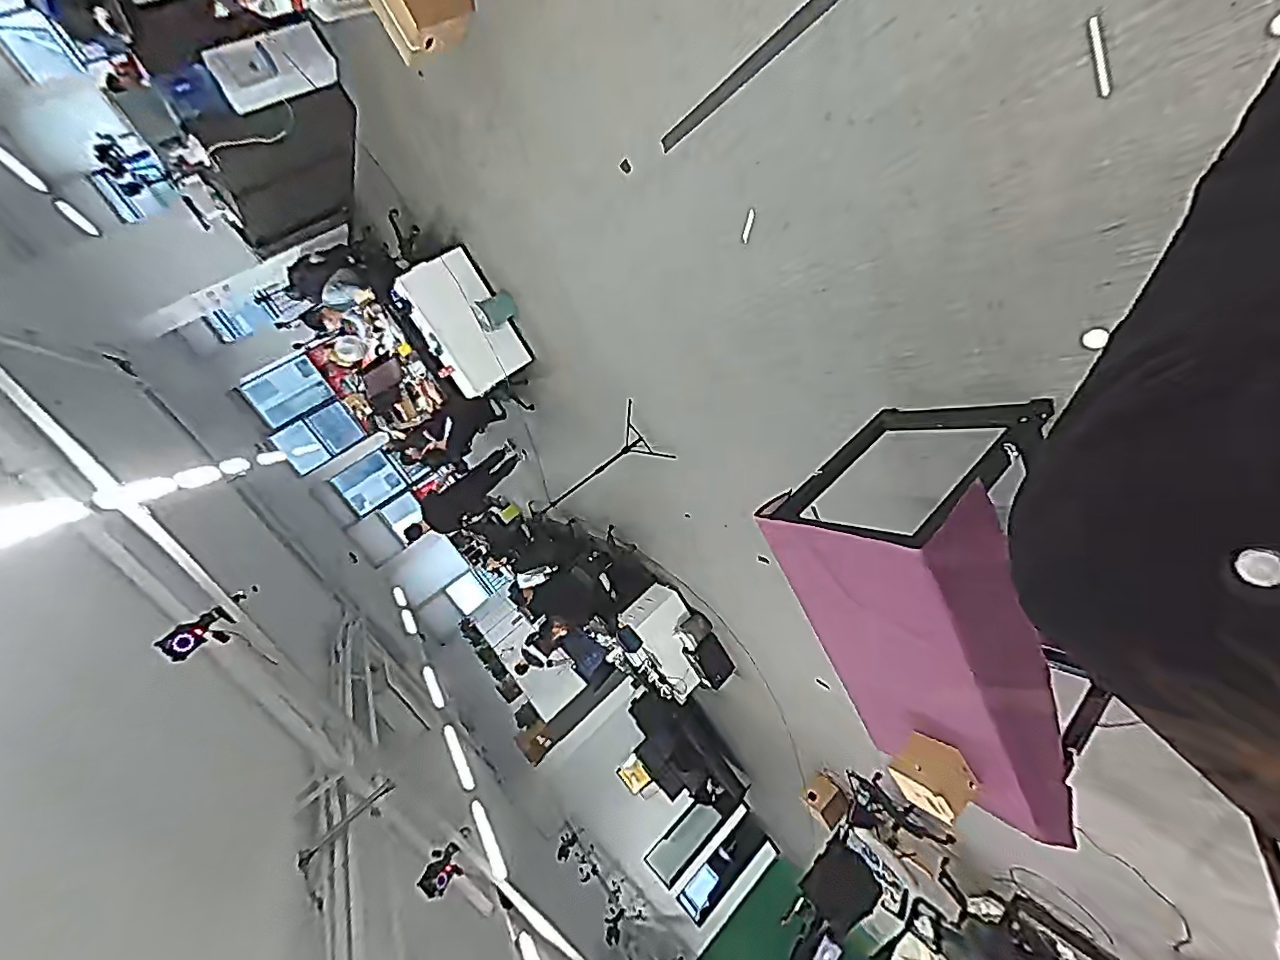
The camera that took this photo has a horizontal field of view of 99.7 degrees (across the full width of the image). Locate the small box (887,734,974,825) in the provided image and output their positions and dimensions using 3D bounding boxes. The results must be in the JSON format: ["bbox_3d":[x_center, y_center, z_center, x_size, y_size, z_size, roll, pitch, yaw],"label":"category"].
[{"bbox_3d":[0.973,0.985,1.798,0.168,0.176,0.179,56,159,-11],"label":"small box"}]
